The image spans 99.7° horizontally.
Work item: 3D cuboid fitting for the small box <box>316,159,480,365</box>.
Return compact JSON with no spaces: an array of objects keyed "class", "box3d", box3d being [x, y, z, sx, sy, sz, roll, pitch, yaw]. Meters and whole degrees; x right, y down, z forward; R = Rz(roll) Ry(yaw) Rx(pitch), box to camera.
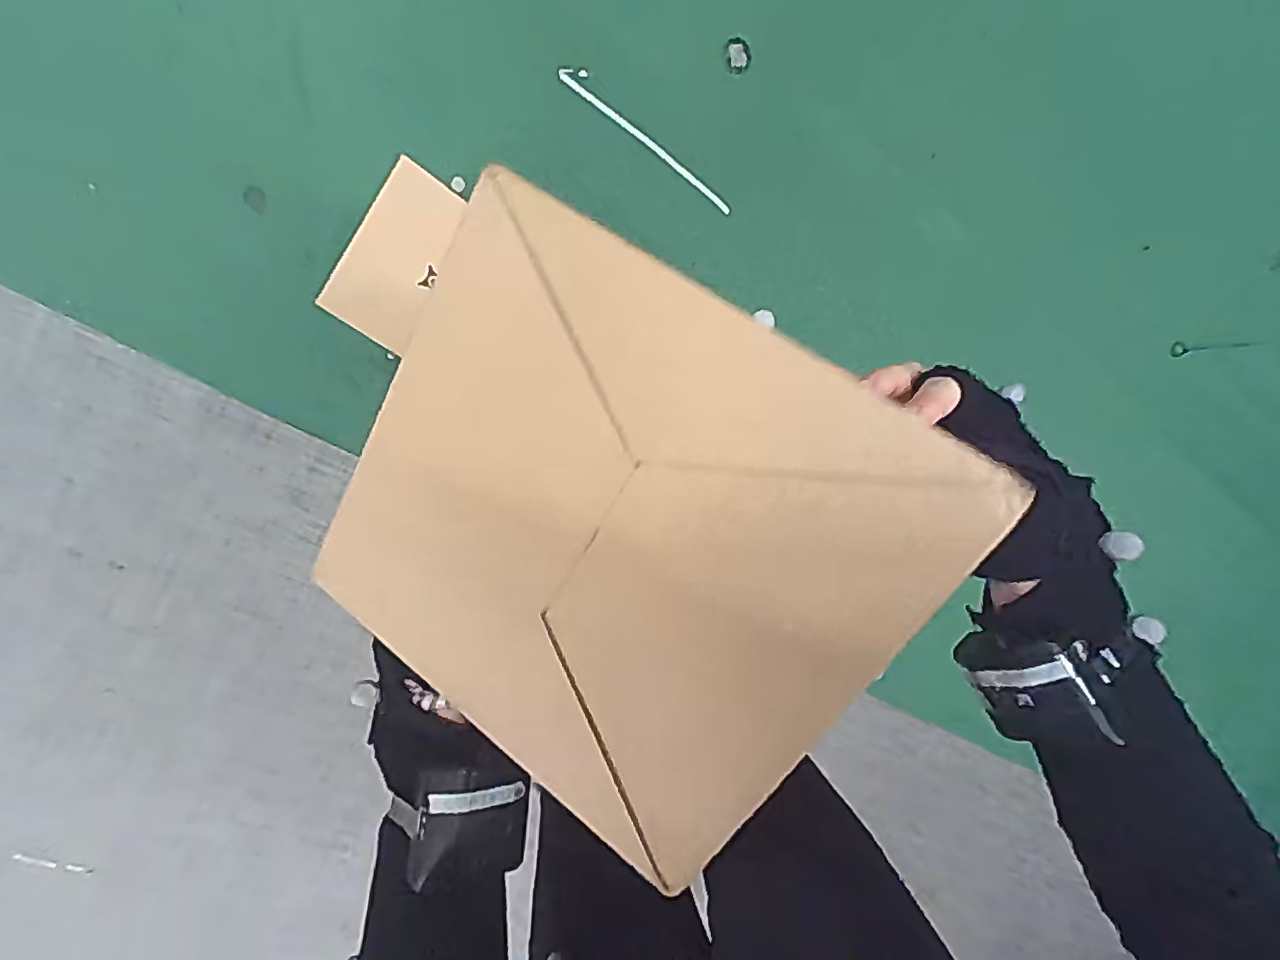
[{"class":"small box","box3d":[-0.217,-0.216,0.615,0.179,0.176,0.168,33,99,-21]}]
